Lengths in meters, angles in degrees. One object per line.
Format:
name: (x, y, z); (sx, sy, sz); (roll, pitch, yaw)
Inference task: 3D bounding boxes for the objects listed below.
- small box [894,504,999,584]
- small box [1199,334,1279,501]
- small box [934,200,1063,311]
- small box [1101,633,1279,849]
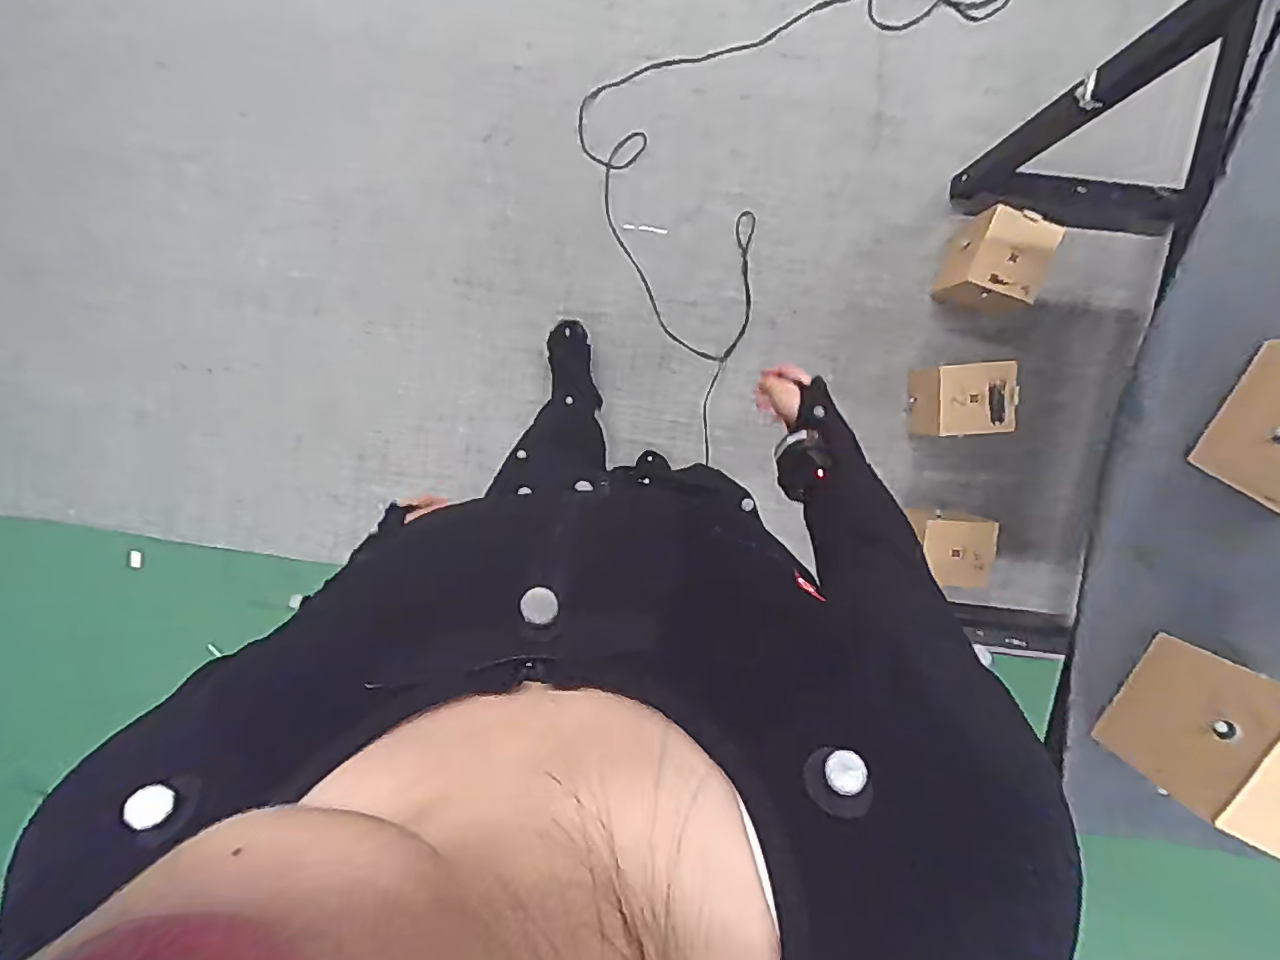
small box: (0.777, 0.159, 1.390); (0.179, 0.176, 0.168); (2, 99, 1)
small box: (0.822, -0.064, 0.622); (0.168, 0.176, 0.179); (26, 97, -6)
small box: (0.841, -0.526, 1.290); (0.168, 0.176, 0.179); (19, 98, -1)
small box: (0.744, 0.322, 0.675); (0.168, 0.176, 0.179); (27, 97, -5)
